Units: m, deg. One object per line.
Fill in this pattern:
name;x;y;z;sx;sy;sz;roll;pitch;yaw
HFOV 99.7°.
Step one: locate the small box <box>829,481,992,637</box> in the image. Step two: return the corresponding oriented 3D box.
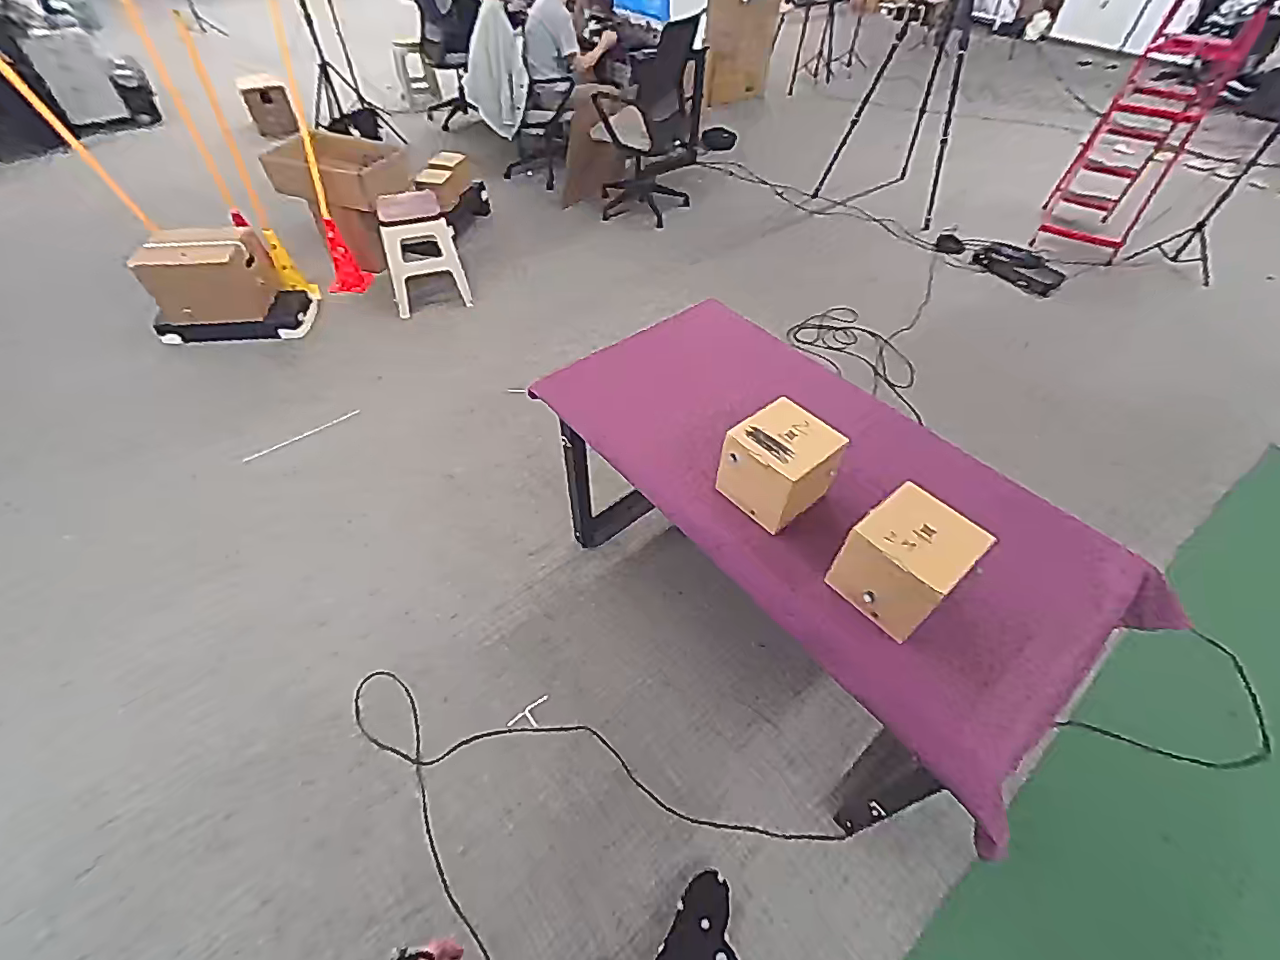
small box;0.464;0.140;0.955;0.179;0.176;0.168;-31;57;-26
